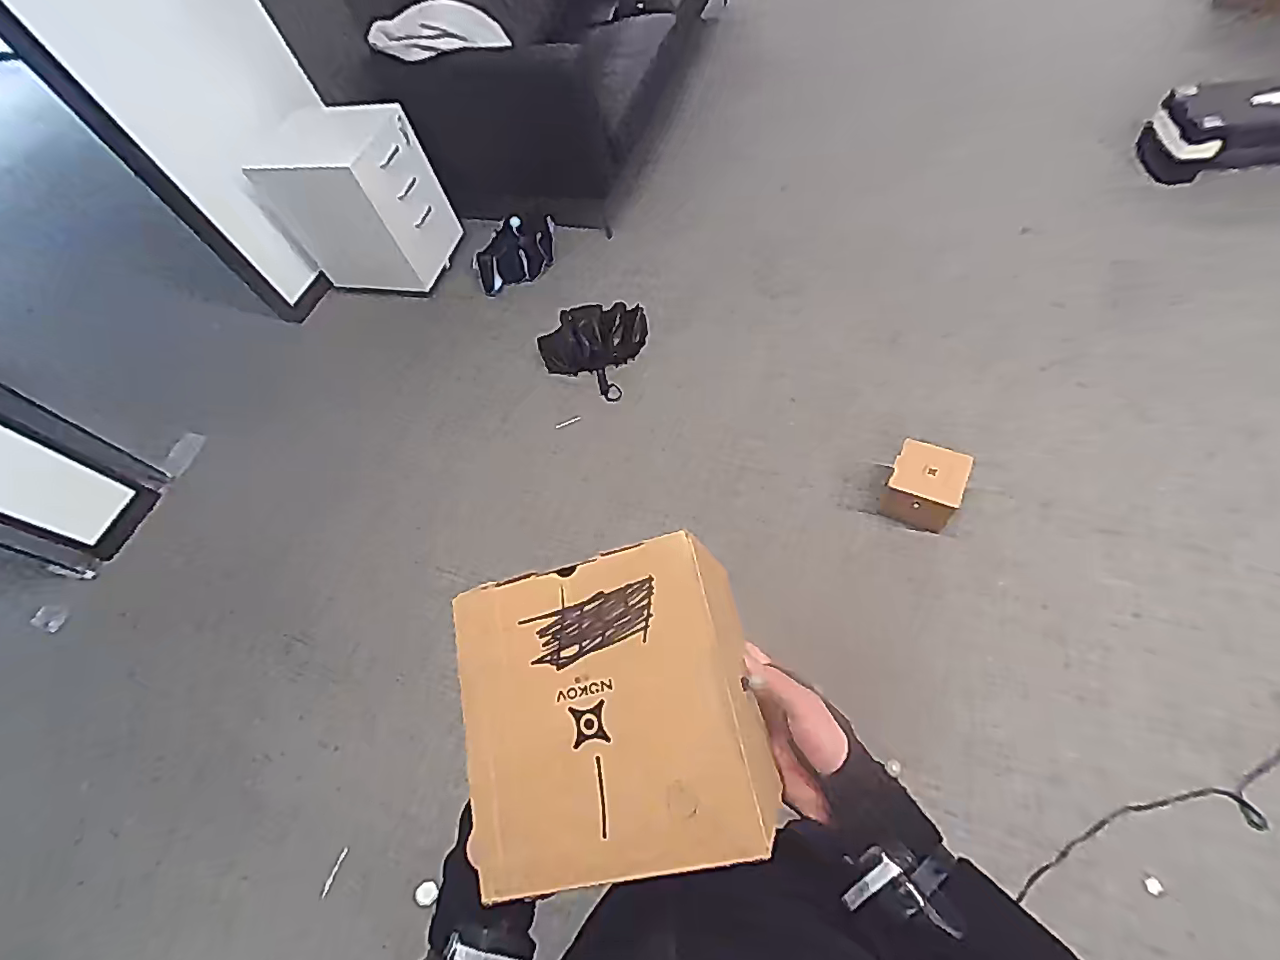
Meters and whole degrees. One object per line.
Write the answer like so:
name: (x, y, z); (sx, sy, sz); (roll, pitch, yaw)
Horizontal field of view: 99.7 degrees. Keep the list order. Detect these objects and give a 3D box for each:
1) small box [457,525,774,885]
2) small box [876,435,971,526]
small box: (-0.008, 0.150, 0.390); (0.168, 0.176, 0.179); (-17, 70, 12)
small box: (0.777, 0.006, 1.499); (0.179, 0.176, 0.168); (21, 69, 20)
